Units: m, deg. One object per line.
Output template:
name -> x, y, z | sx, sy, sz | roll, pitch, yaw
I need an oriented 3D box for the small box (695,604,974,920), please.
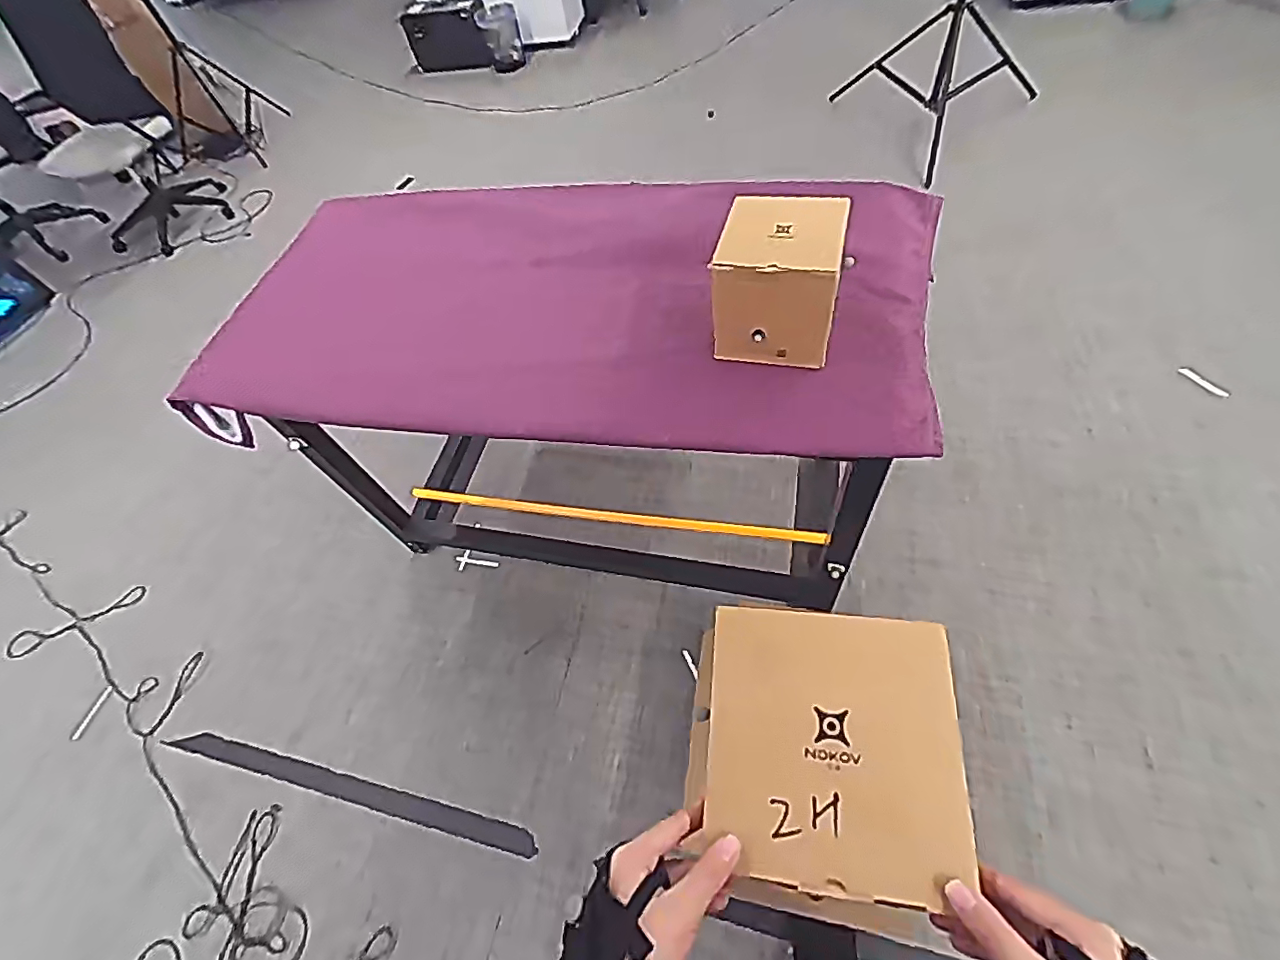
small box -> 0.138, 0.214, 0.436 | 0.168, 0.176, 0.179 | 1, 62, 13

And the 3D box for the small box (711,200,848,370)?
small box -> 0.206, -0.292, 0.812 | 0.168, 0.176, 0.179 | 9, 57, 16
